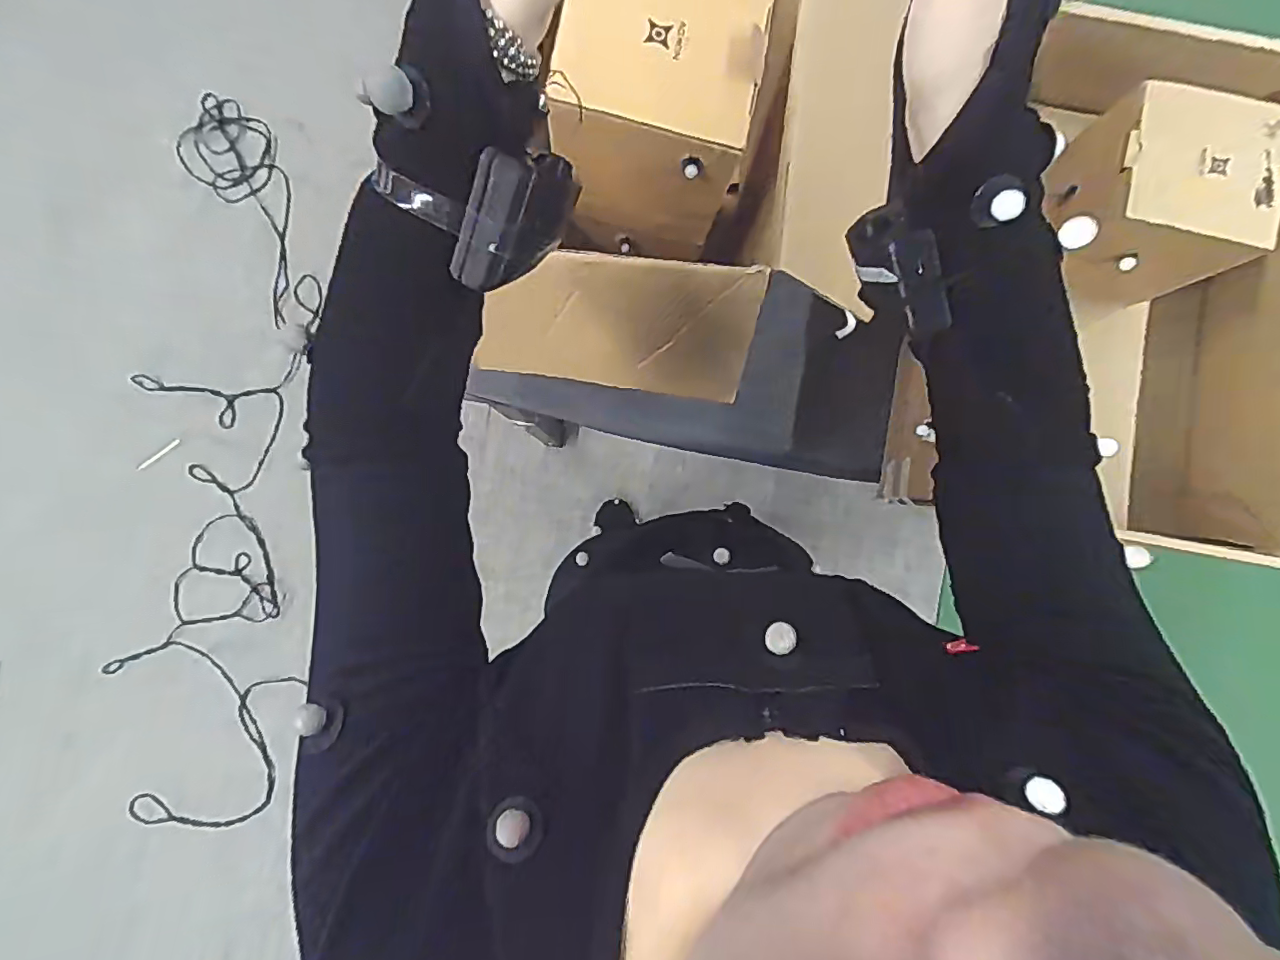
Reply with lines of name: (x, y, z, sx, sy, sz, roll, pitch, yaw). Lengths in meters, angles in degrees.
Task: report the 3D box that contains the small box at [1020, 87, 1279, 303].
small box: (0.627, -0.342, 0.682, 0.179, 0.176, 0.168, 12, 88, 1)
